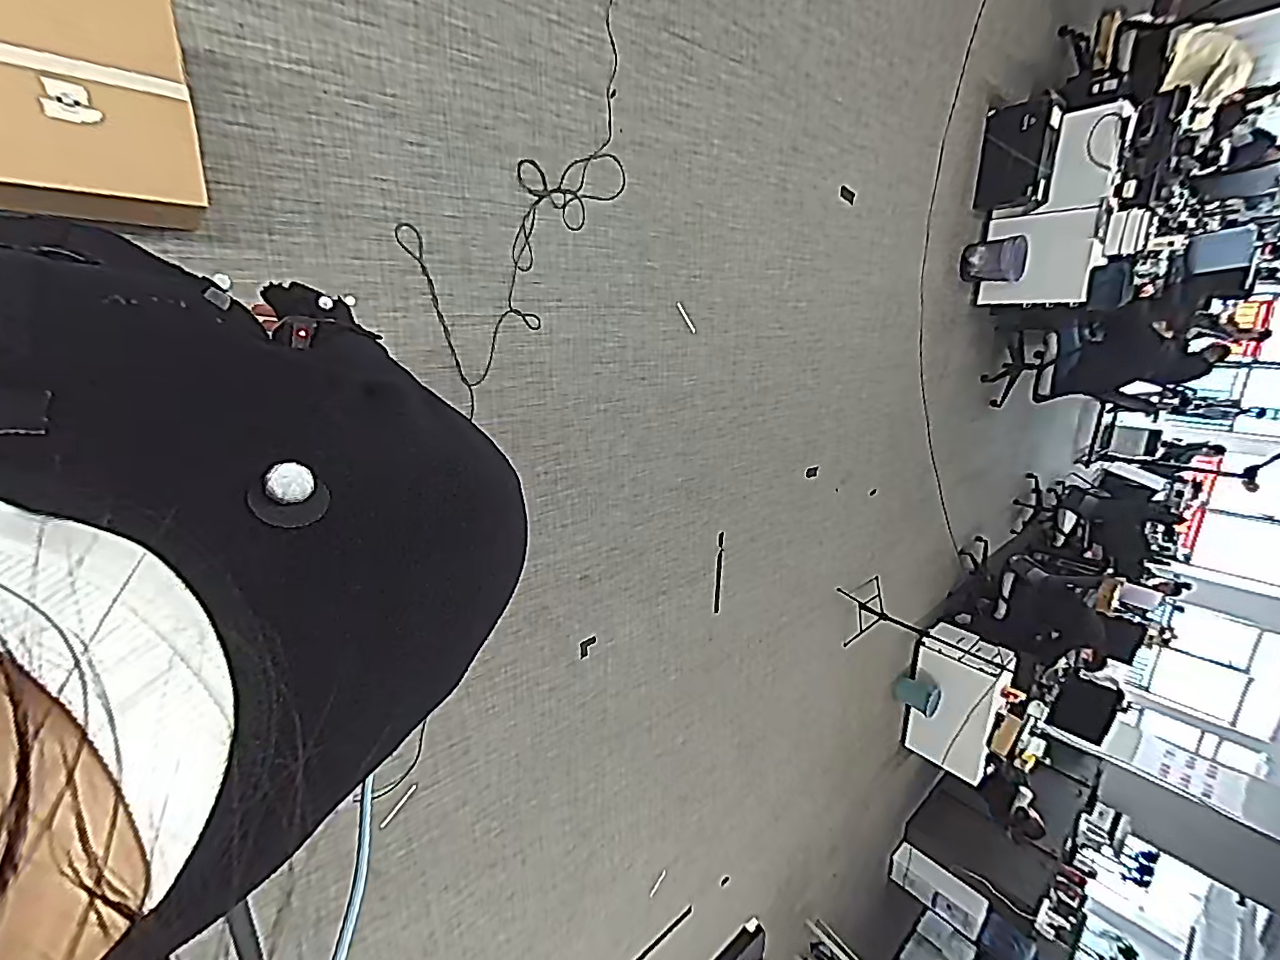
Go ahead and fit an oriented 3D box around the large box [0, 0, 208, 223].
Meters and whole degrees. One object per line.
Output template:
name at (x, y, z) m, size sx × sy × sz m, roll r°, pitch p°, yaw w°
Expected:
large box at (-0.936, -0.591, 0.804) m, size 0.408 × 0.320 × 0.320 m, roll -13°, pitch 111°, yaw -40°
